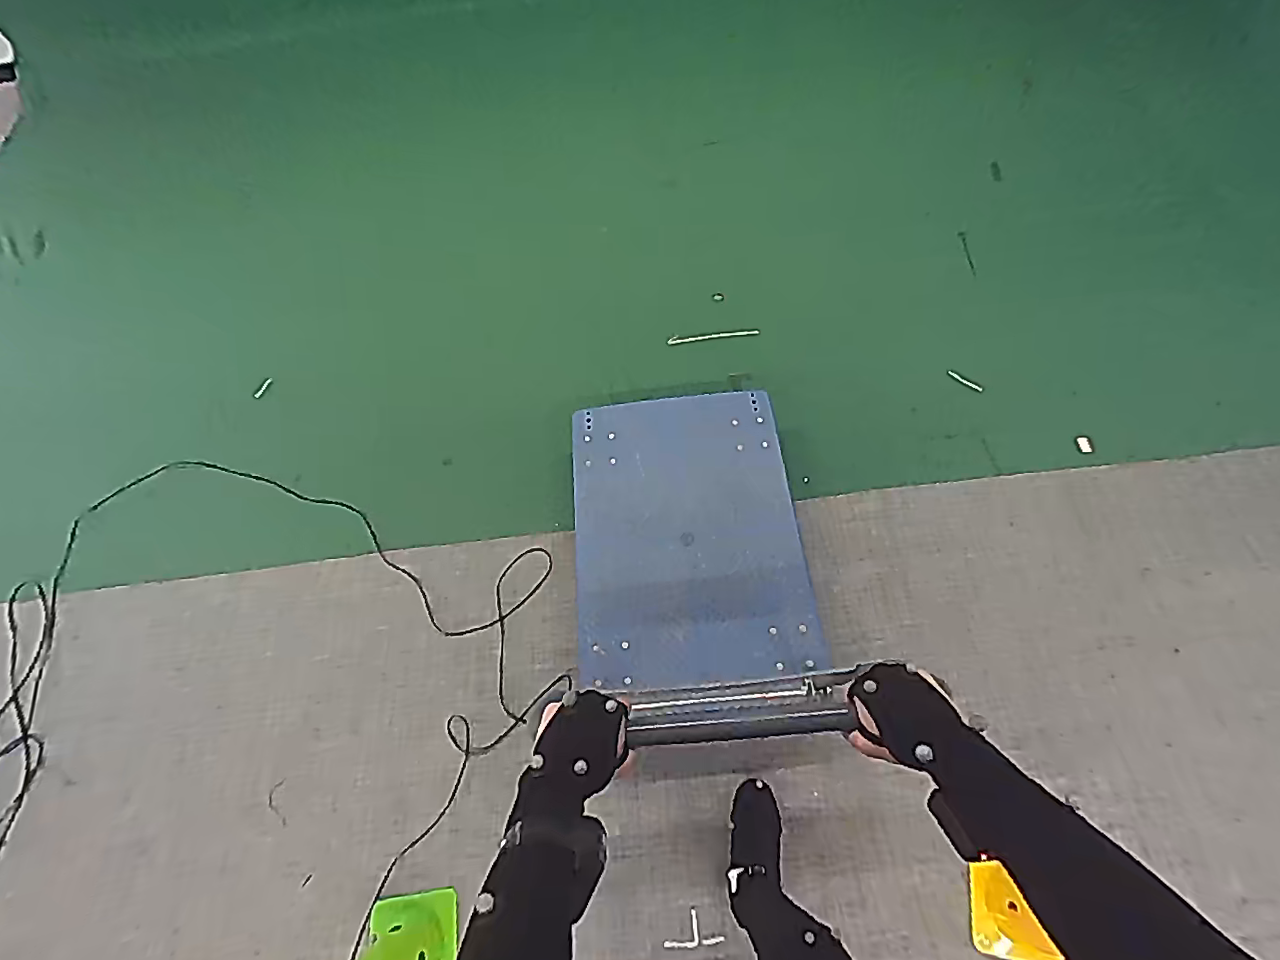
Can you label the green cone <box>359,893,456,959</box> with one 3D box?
[{"bbox_3d":[-0.525,0.978,1.049,0.202,0.368,0.200,-11,64,2],"label":"green cone"}]
